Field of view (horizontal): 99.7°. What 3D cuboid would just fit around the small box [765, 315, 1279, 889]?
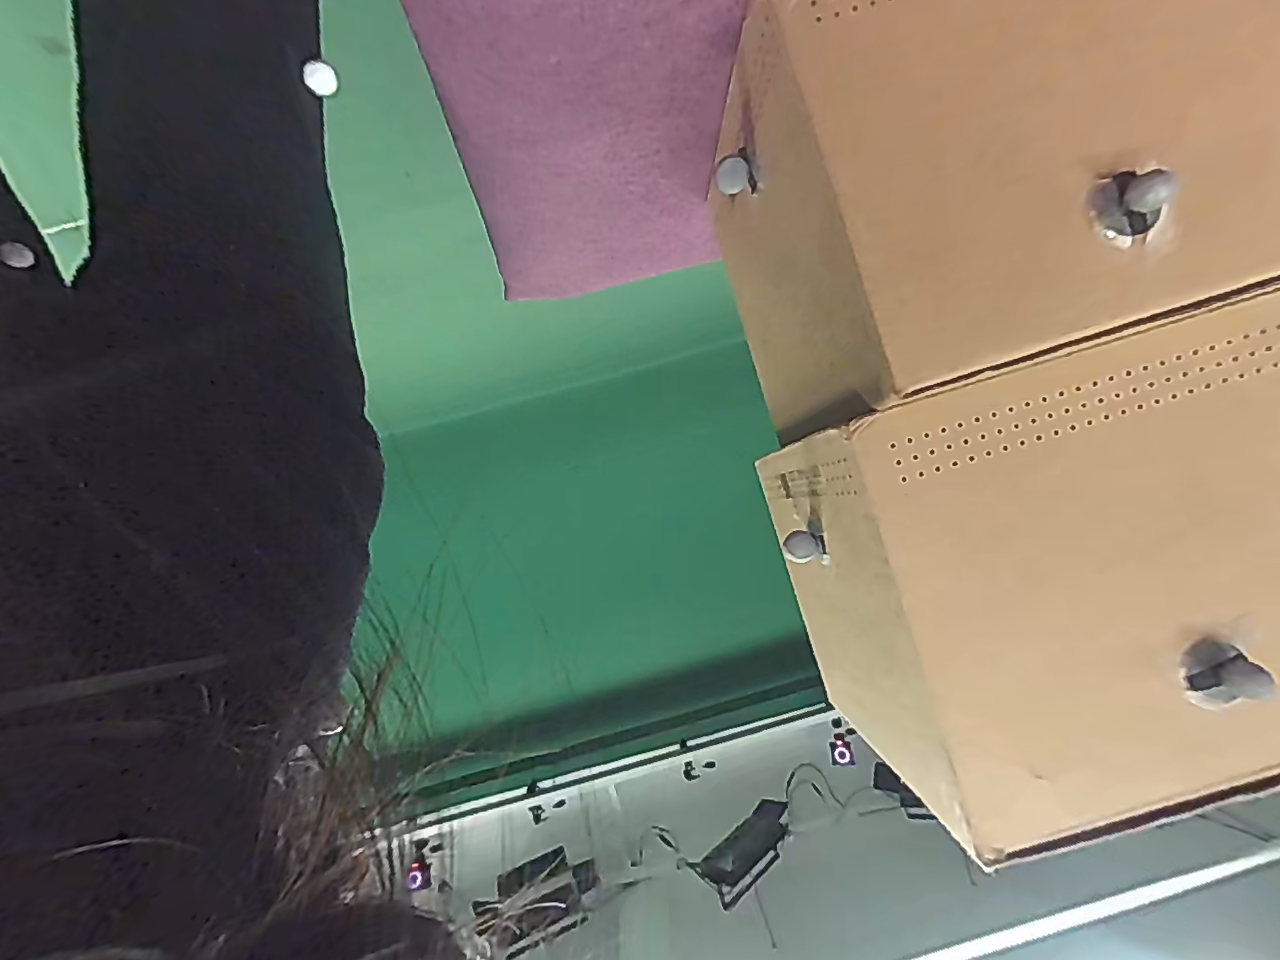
[{"bbox_3d":[0.182,0.039,0.265,0.179,0.176,0.168,-16,177,0],"label":"small box"}]

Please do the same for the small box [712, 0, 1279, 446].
[{"bbox_3d":[0.149,-0.123,0.253,0.179,0.176,0.168,-16,177,0],"label":"small box"}]
